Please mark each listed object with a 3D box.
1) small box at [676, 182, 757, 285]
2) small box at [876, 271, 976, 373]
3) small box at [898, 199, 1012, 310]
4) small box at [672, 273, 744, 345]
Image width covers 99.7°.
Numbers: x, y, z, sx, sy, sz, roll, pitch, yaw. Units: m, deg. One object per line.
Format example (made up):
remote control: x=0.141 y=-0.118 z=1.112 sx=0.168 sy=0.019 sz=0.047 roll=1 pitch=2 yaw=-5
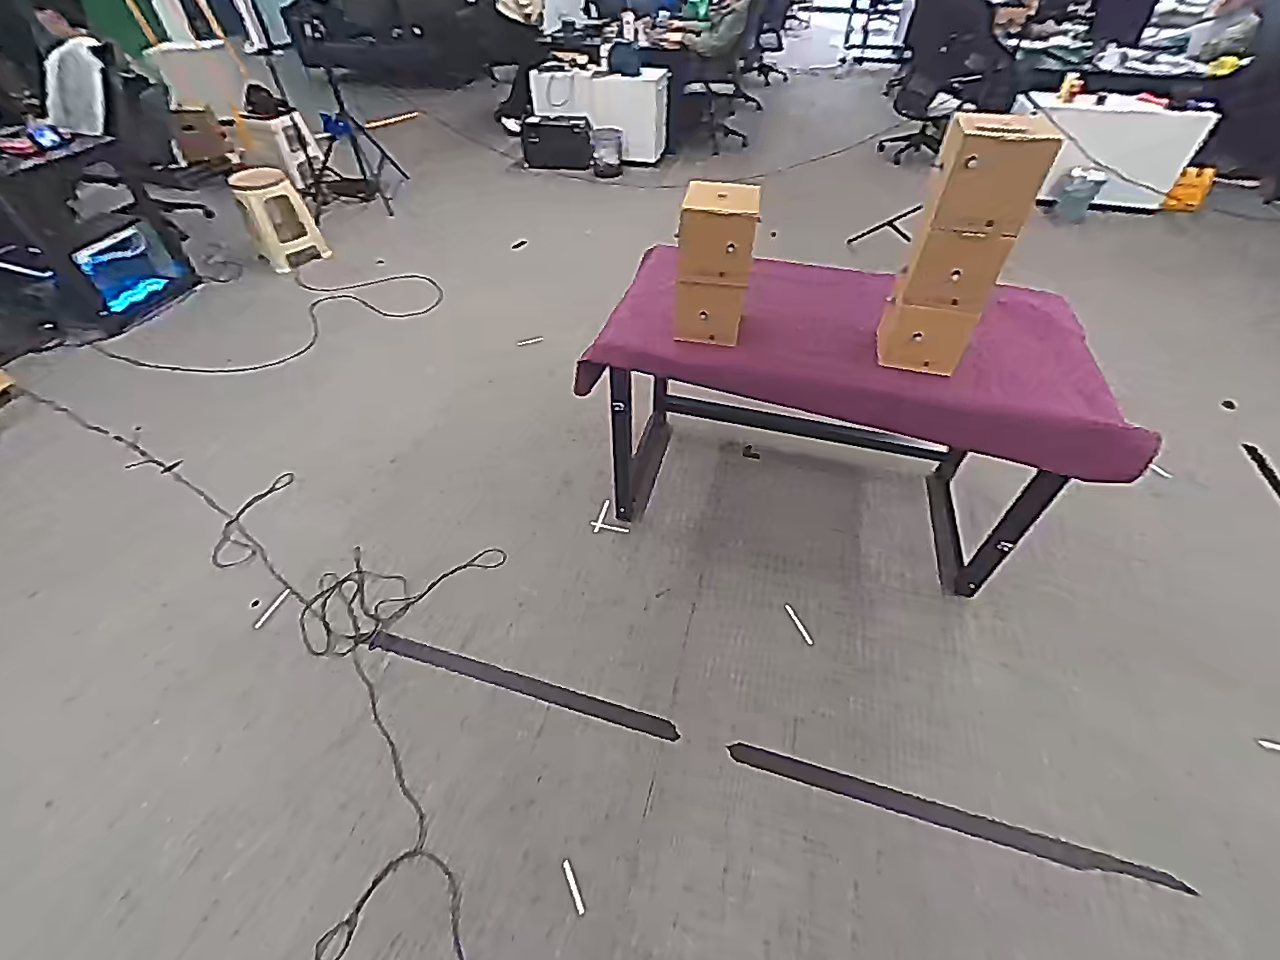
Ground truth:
small box: x=0.177 y=-0.573 z=1.262 sx=0.168 sy=0.176 sz=0.179 roll=8 pitch=46 yaw=6
small box: x=0.682 y=-0.381 z=1.310 sx=0.168 sy=0.176 sz=0.179 roll=11 pitch=47 yaw=11
small box: x=0.684 y=-0.497 z=1.194 sx=0.168 sy=0.176 sz=0.179 roll=12 pitch=48 yaw=12
small box: x=0.176 y=-0.467 z=1.386 sx=0.168 sy=0.176 sz=0.179 roll=9 pitch=47 yaw=7
